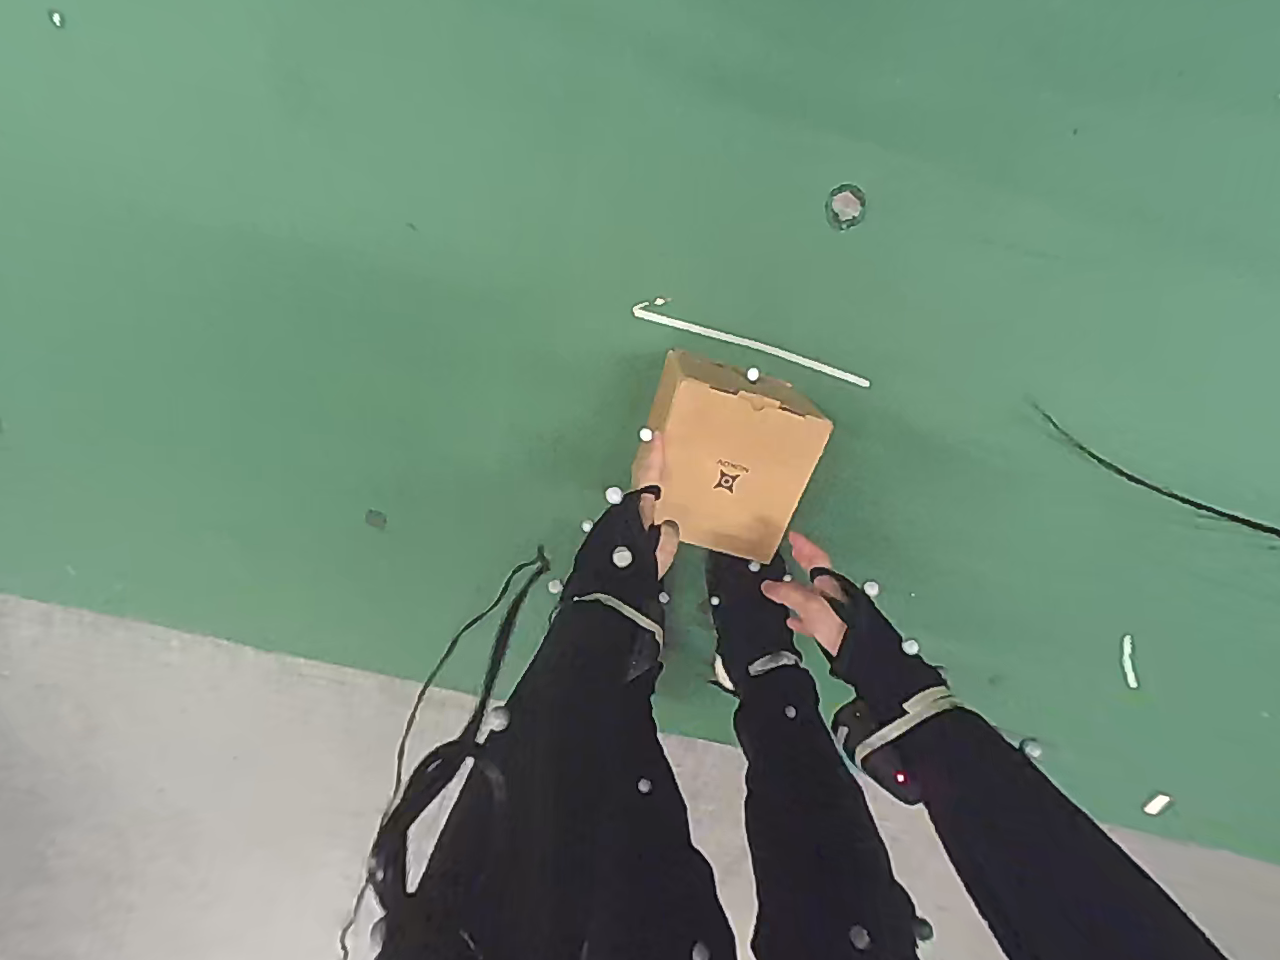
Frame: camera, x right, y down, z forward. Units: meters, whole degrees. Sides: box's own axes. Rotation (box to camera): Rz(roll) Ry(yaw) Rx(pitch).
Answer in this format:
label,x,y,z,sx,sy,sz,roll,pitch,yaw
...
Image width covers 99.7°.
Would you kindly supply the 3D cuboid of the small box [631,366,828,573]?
label,x,y,z,sx,sy,sz,roll,pitch,yaw
small box,0.094,-0.021,0.649,0.168,0.176,0.179,16,110,-6
